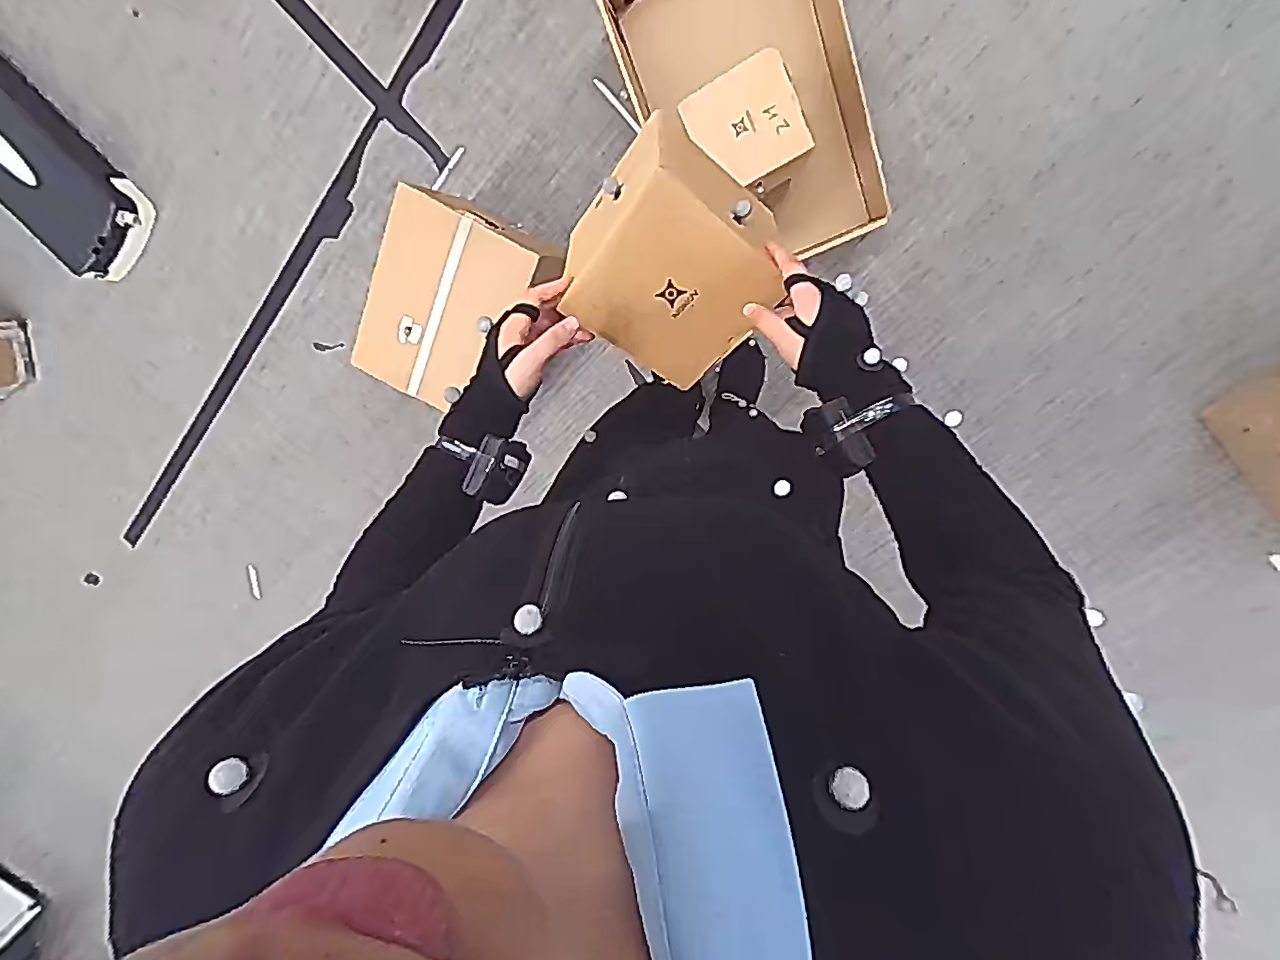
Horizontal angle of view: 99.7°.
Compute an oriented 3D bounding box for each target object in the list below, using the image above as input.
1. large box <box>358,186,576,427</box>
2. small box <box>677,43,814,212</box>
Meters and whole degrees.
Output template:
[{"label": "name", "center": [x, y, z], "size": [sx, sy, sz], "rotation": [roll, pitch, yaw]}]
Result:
[{"label": "large box", "center": [-0.391, -0.402, 1.269], "size": [0.320, 0.320, 0.408], "rotation": [28, 113, -1]}, {"label": "small box", "center": [0.183, -0.596, 0.946], "size": [0.179, 0.176, 0.168], "rotation": [-23, 103, 16]}]
